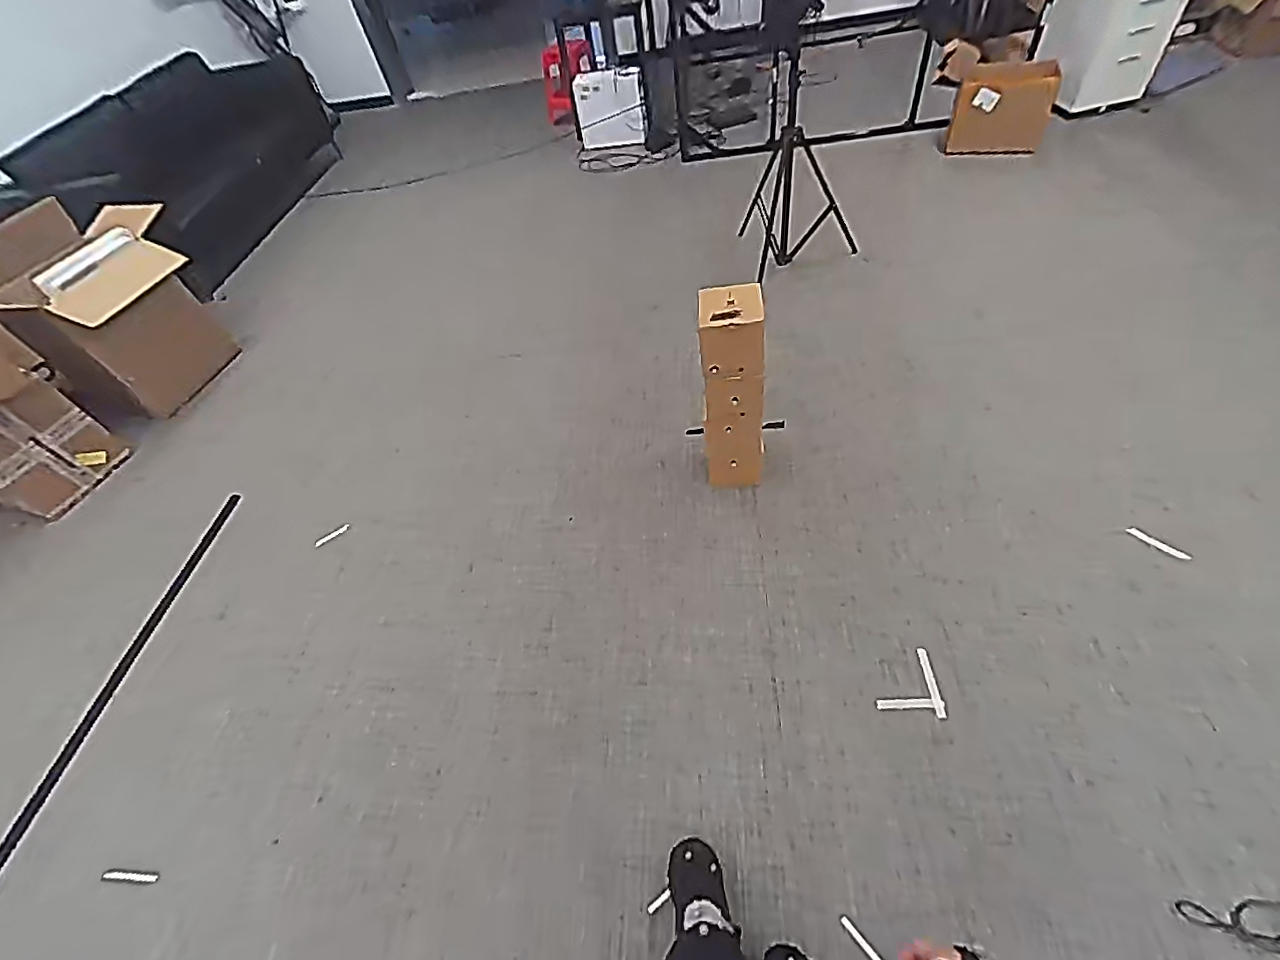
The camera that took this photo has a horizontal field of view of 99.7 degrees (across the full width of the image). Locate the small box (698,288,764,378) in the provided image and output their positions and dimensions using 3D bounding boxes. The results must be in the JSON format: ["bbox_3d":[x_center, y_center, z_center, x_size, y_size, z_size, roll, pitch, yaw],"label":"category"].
[{"bbox_3d":[0.247,-0.388,1.457,0.168,0.176,0.179,-3,50,10],"label":"small box"}]

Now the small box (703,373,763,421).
[{"bbox_3d":[0.275,-0.283,1.581,0.168,0.176,0.179,-2,52,10],"label":"small box"}]

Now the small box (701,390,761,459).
[{"bbox_3d":[0.290,-0.179,1.706,0.179,0.176,0.168,-1,52,11],"label":"small box"}]

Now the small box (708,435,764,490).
[{"bbox_3d":[0.322,-0.079,1.832,0.179,0.176,0.168,-3,51,9],"label":"small box"}]
